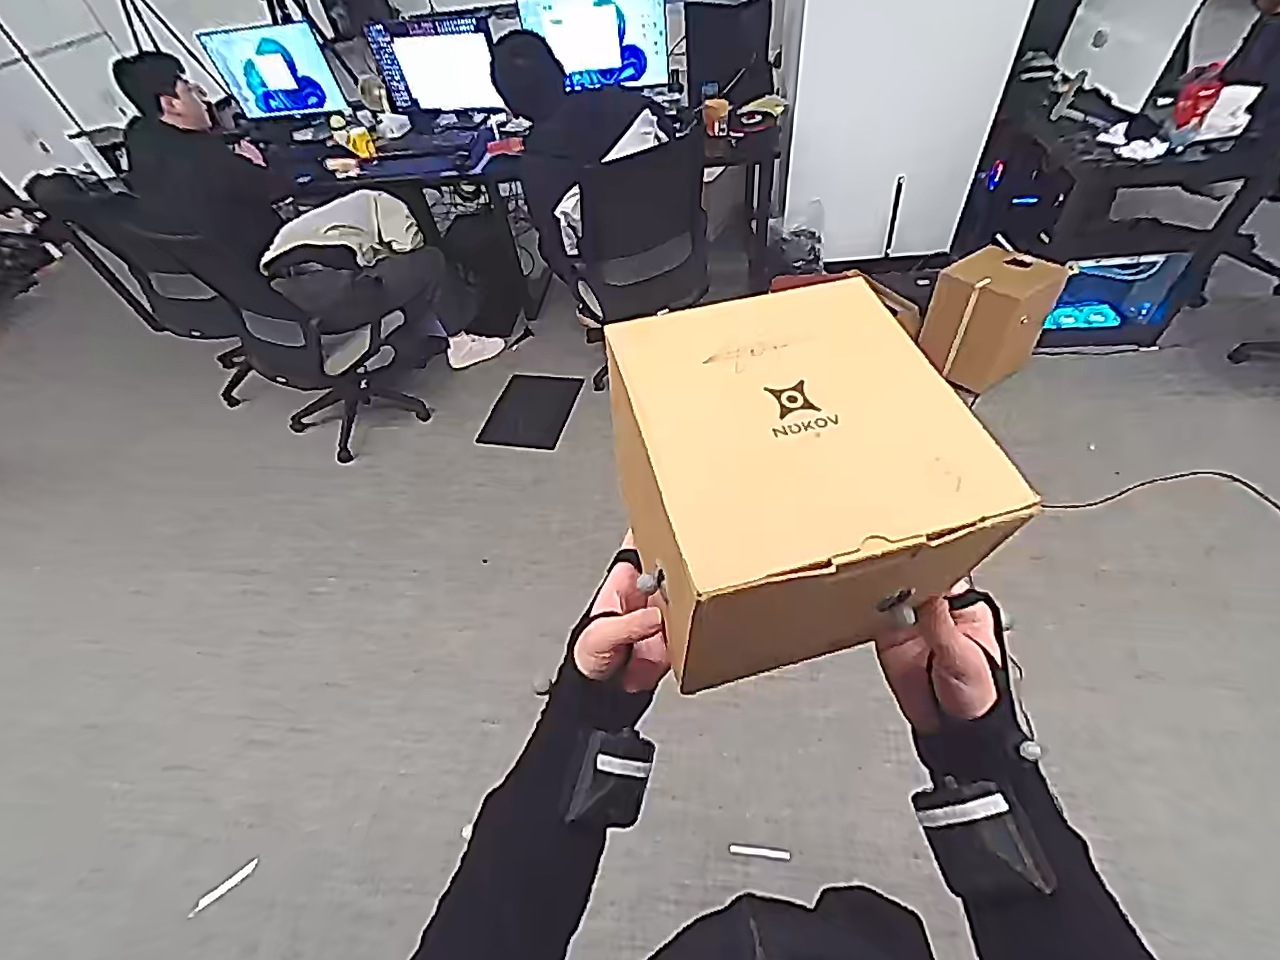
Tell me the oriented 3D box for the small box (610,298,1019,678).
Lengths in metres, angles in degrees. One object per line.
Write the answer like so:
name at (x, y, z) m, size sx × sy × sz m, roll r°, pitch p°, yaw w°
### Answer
small box at (0.082, 0.014, 0.355) m, size 0.168 × 0.176 × 0.179 m, roll -13°, pitch 55°, yaw -9°
